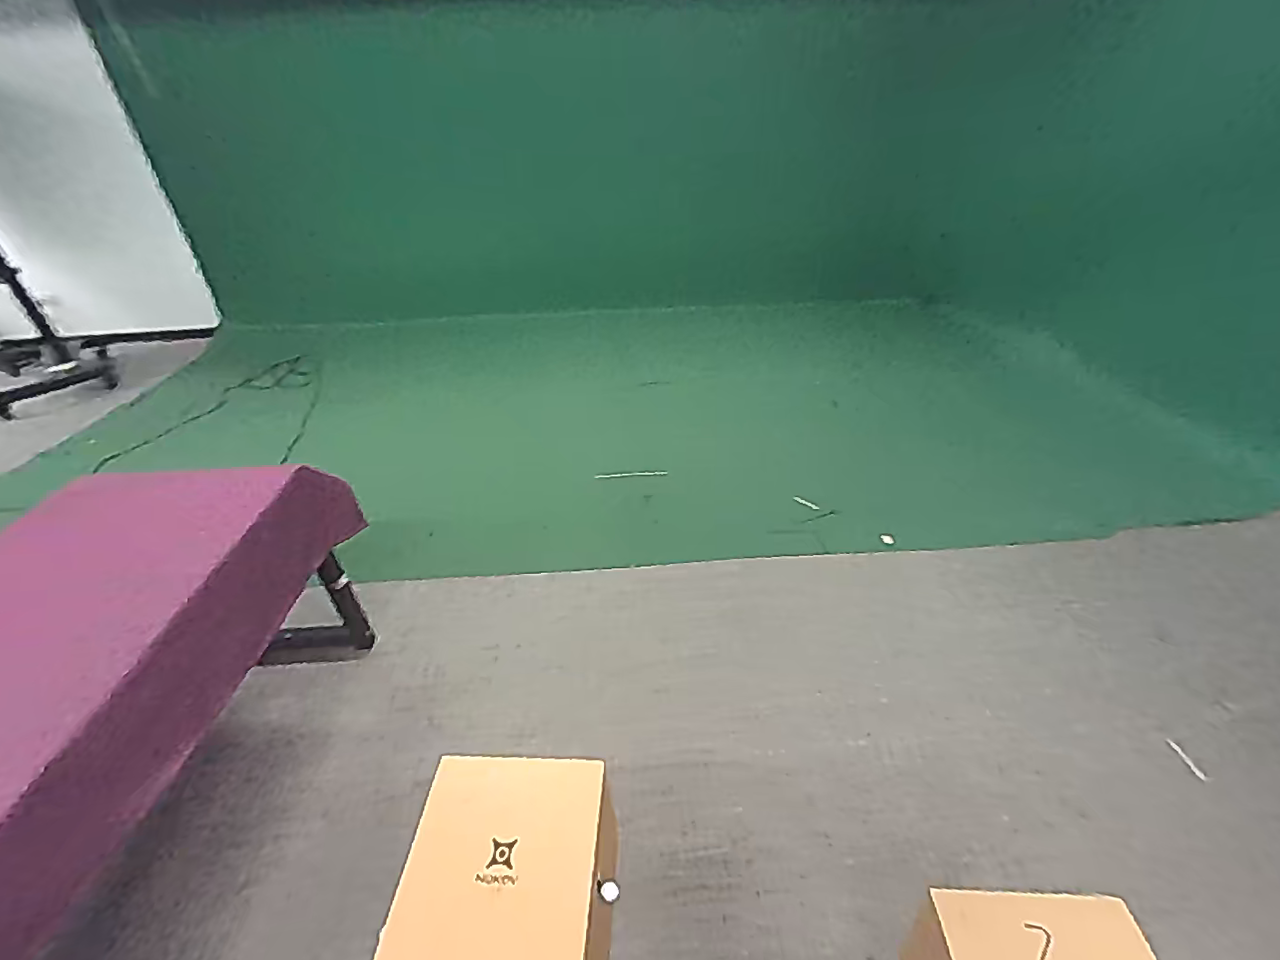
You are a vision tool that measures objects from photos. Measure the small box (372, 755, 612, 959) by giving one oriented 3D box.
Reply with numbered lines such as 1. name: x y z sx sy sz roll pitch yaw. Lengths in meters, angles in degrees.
1. small box: -0.118 0.391 0.512 0.168 0.176 0.179 0 39 4
